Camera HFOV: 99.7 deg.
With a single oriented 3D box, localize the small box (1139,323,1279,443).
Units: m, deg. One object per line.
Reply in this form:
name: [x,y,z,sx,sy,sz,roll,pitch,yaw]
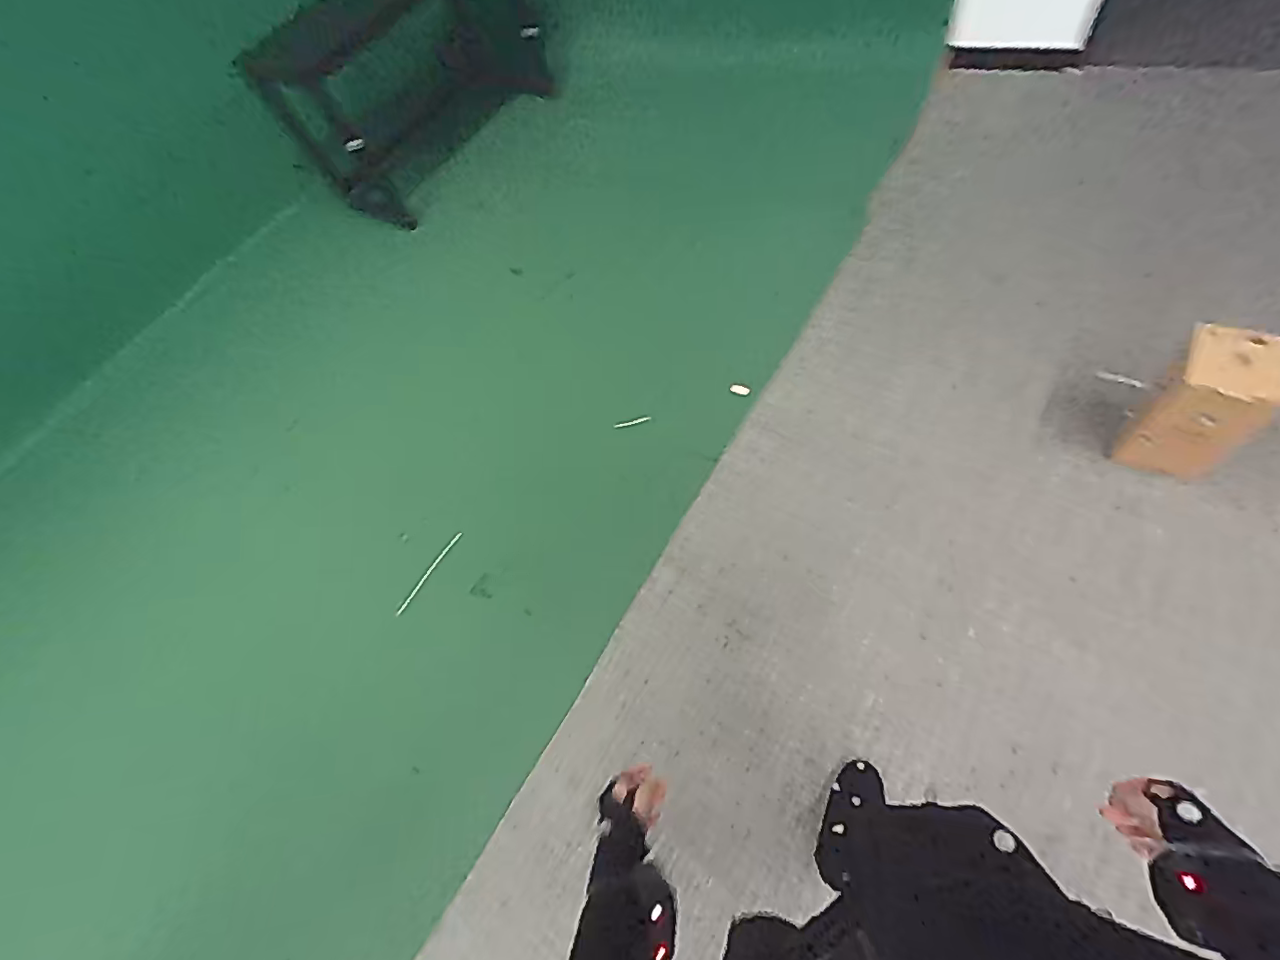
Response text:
small box: [1.246,-0.207,1.183,0.168,0.176,0.179,22,70,25]
